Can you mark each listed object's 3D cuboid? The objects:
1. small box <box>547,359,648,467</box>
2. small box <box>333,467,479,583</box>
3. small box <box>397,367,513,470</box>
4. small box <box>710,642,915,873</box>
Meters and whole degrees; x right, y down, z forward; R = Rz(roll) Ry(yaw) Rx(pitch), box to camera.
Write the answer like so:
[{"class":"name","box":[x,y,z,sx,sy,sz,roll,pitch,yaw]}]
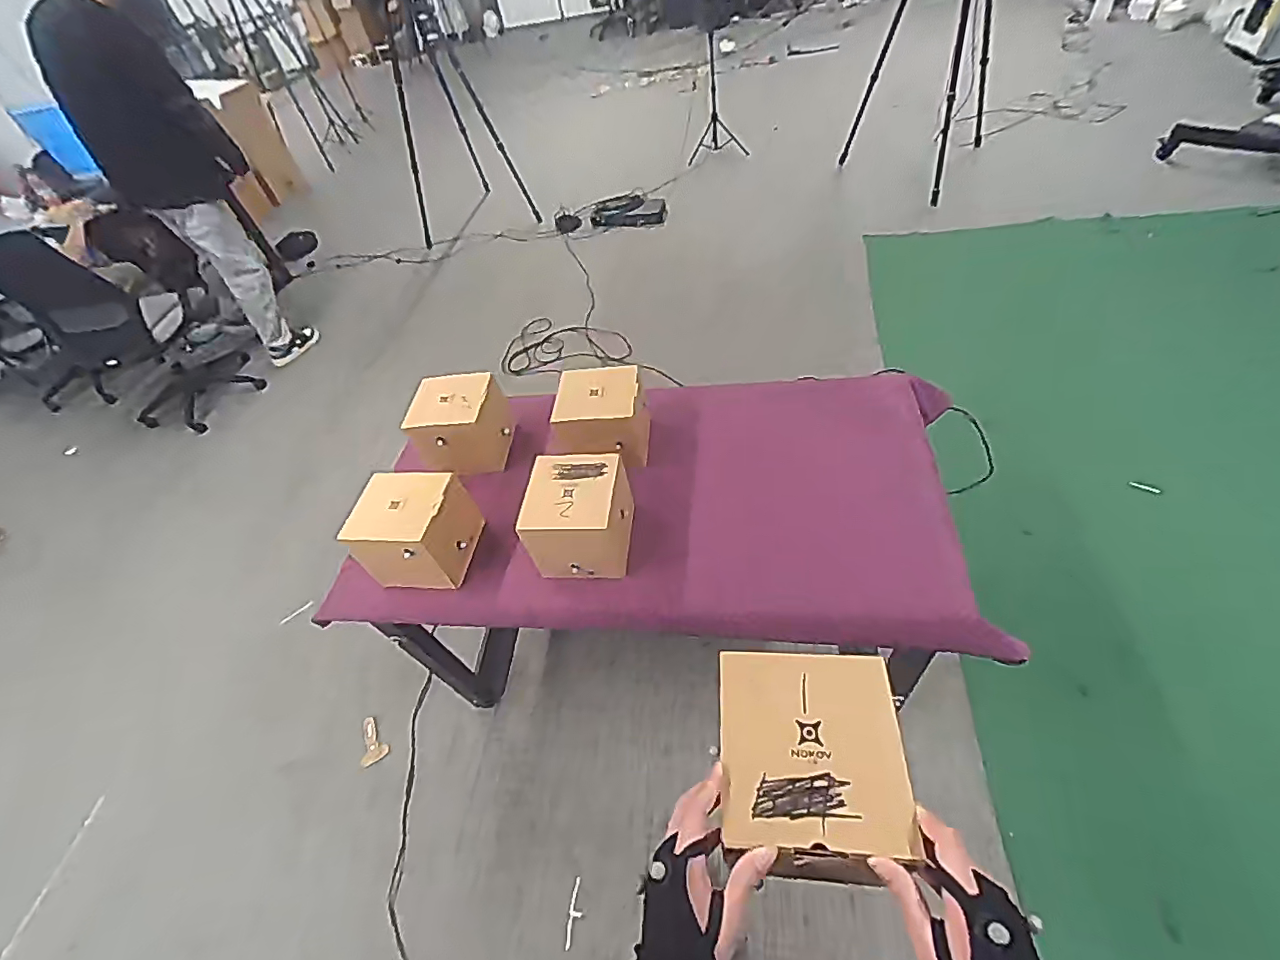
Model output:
[{"class":"small box","box":[-0.083,-0.142,1.181,0.179,0.176,0.168,-2,50,11]},{"class":"small box","box":[-0.447,0.091,1.065,0.179,0.176,0.168,0,50,11]},{"class":"small box","box":[-0.415,-0.136,1.243,0.179,0.176,0.168,-3,51,9]},{"class":"small box","box":[0.161,0.285,0.555,0.168,0.176,0.179,-2,48,10]}]
